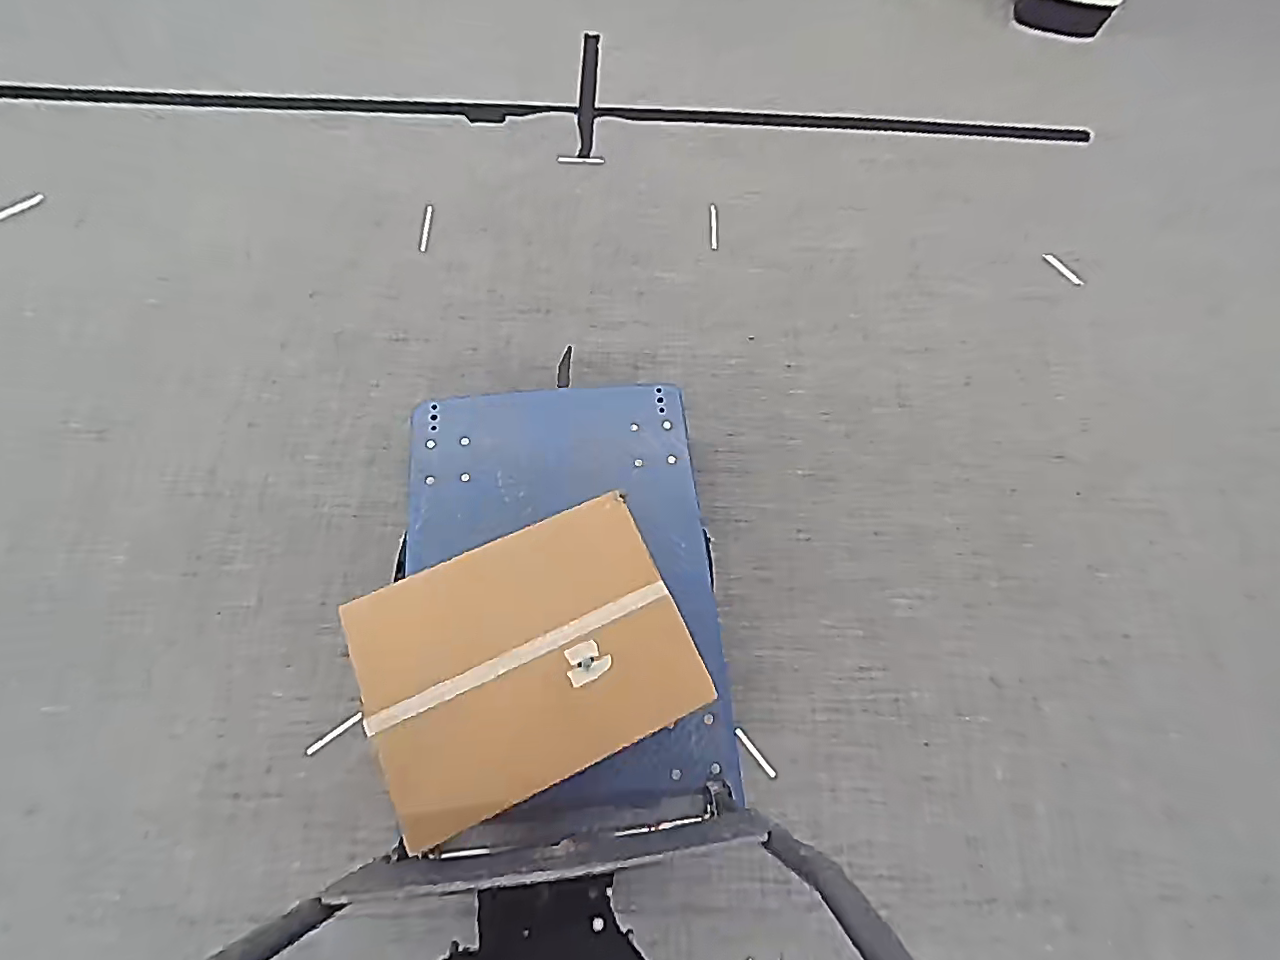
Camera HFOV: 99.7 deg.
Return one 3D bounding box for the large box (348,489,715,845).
[{"bbox_3d":[-0.153,0.272,0.841,0.408,0.320,0.320,-23,72,-13],"label":"large box"}]
